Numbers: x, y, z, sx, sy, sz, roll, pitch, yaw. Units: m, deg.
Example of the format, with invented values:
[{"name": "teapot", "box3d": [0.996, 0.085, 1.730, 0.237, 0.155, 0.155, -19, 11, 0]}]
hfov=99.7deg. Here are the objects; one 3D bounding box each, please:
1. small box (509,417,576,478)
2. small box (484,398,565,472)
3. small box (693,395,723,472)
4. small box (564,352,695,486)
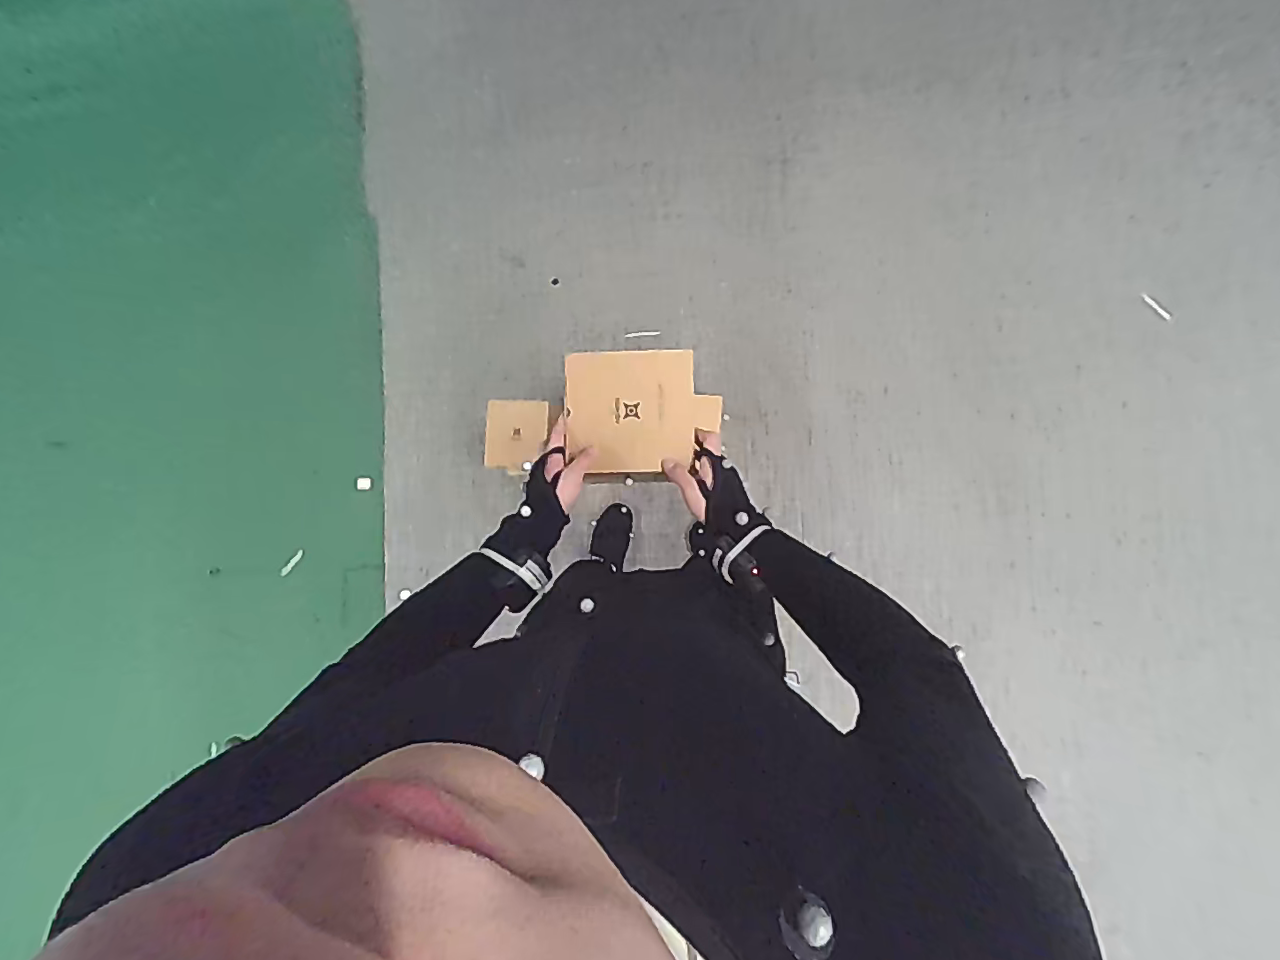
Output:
[{"name": "small box", "box3d": [-0.285, -0.097, 1.636, 0.168, 0.176, 0.179, 3, 88, 7]}, {"name": "small box", "box3d": [-0.304, -0.118, 1.458, 0.168, 0.176, 0.179, 3, 89, 7]}, {"name": "small box", "box3d": [0.123, -0.119, 1.396, 0.168, 0.176, 0.179, 5, 89, 9]}, {"name": "small box", "box3d": [-0.009, -0.081, 0.800, 0.179, 0.176, 0.168, -2, 84, 4]}]
